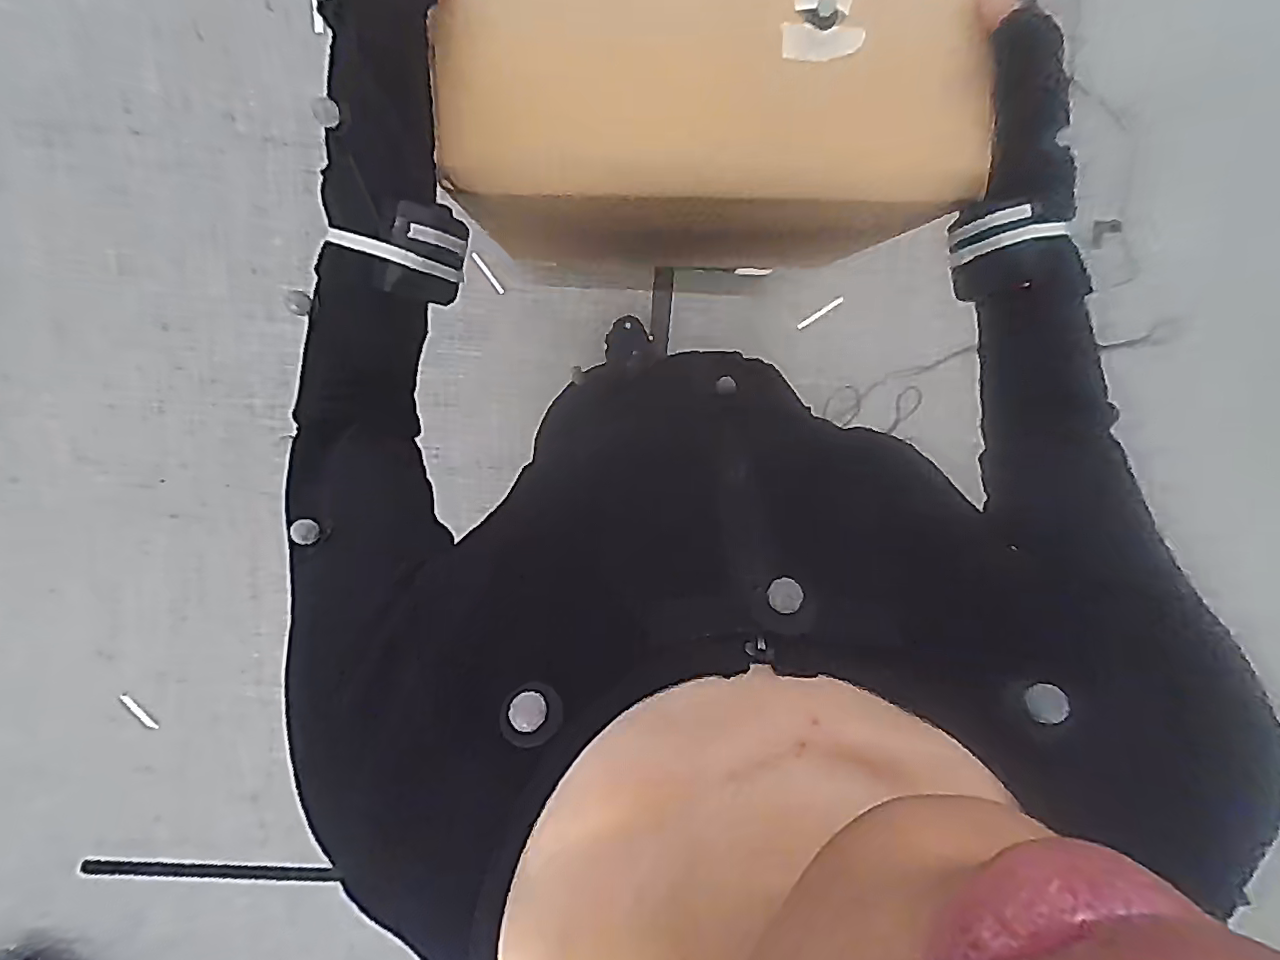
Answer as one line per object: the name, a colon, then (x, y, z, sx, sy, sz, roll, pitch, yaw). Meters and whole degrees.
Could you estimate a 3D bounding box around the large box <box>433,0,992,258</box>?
large box: (0.044, -0.406, 0.516, 0.408, 0.320, 0.320, -1, 103, -4)
